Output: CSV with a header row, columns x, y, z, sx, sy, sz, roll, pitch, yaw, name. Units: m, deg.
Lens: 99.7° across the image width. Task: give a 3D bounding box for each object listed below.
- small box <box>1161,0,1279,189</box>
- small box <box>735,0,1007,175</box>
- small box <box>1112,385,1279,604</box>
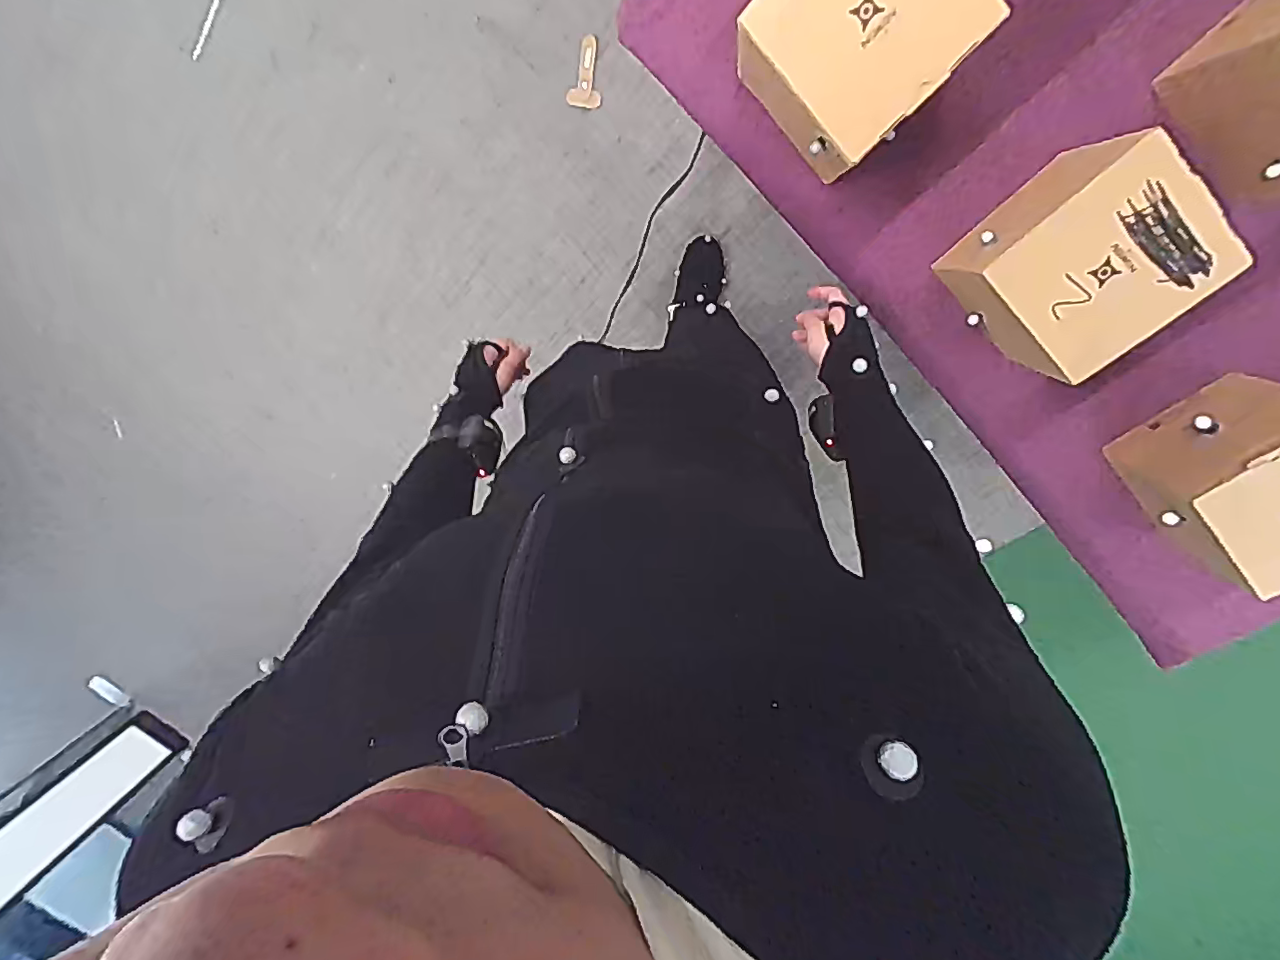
x,y,z,sx,sy,sz,roll,pitch,yaw,name
0.652,-0.391,0.488,0.179,0.176,0.168,43,114,-8,small box
0.212,-0.444,0.551,0.179,0.176,0.168,44,113,-11,small box
0.733,0.005,0.647,0.168,0.176,0.179,-40,100,23,small box
